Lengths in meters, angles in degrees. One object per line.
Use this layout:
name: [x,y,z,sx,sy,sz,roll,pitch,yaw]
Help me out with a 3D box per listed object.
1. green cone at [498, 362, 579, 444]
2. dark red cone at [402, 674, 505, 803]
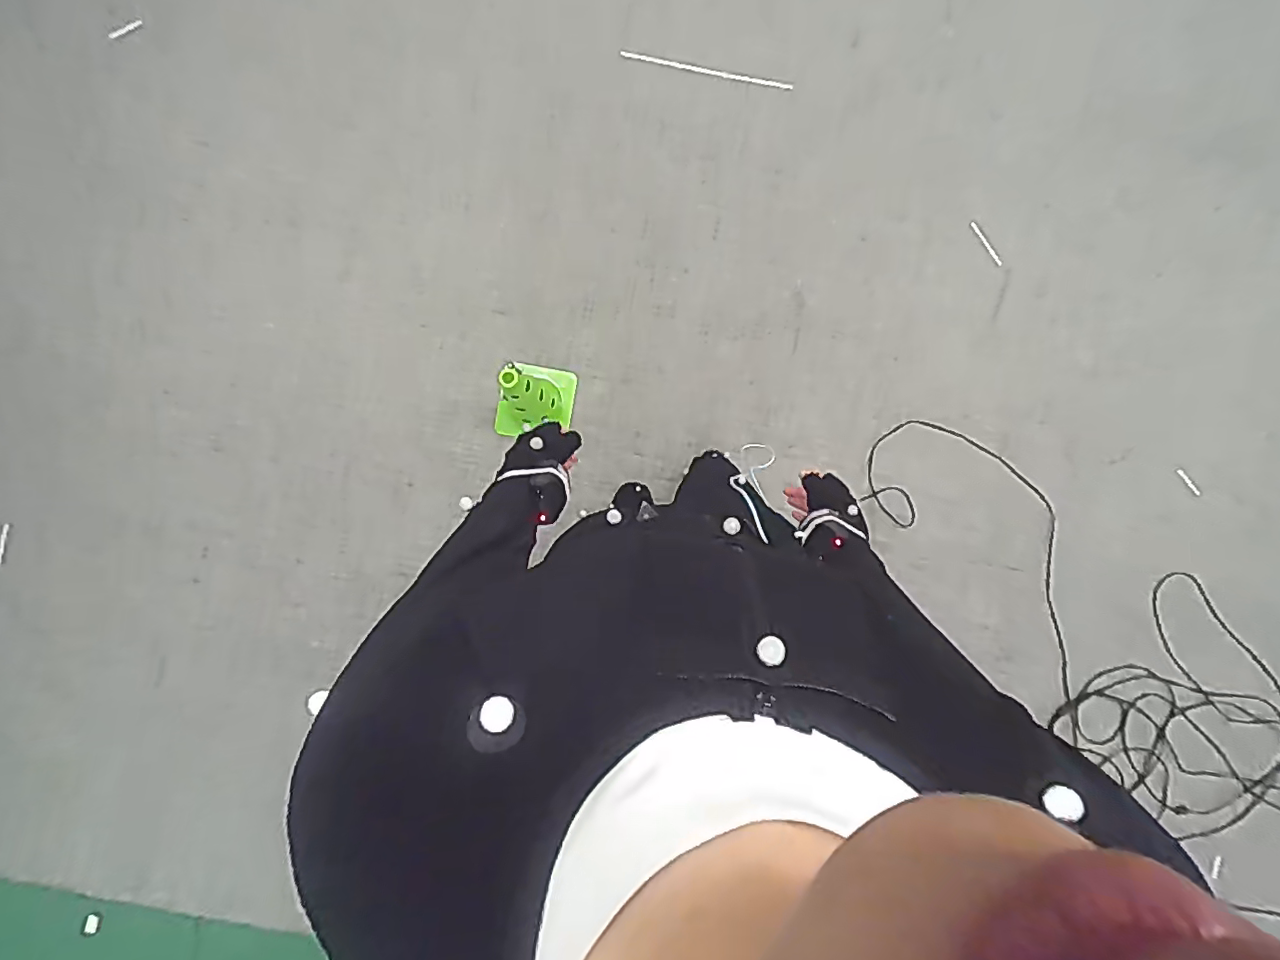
green cone: [-0.268,-0.206,1.295,0.202,0.368,0.200,9,90,-2]
dark red cone: [-0.461,0.619,1.267,0.202,0.394,0.201,6,91,-1]
